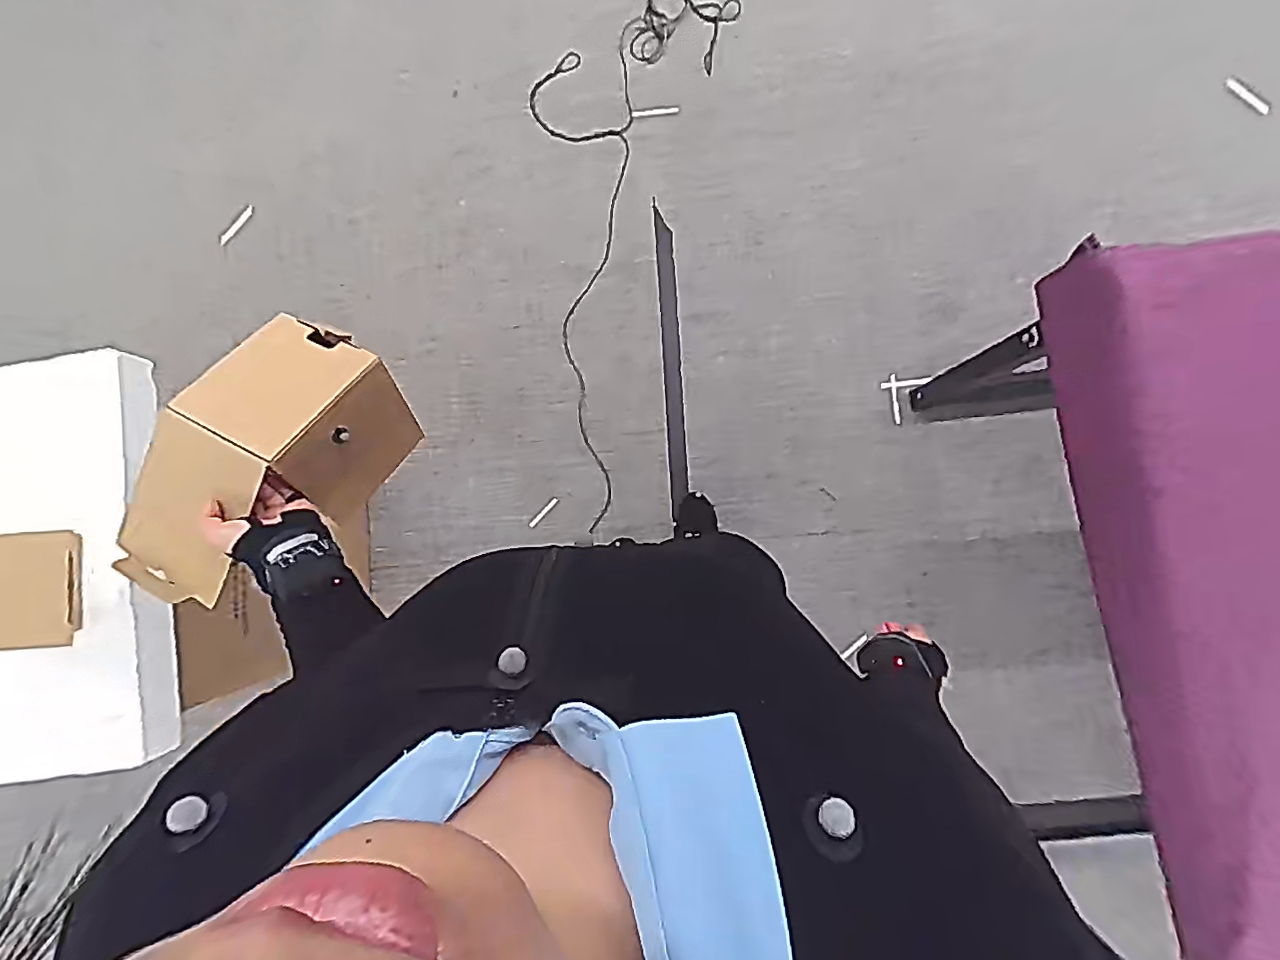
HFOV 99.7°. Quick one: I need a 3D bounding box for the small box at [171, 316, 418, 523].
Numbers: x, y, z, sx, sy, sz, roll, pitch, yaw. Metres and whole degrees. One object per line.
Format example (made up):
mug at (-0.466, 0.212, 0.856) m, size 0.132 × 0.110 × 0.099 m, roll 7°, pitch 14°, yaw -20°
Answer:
small box at (-0.422, -0.071, 0.699) m, size 0.168 × 0.176 × 0.179 m, roll 24°, pitch 62°, yaw 13°
